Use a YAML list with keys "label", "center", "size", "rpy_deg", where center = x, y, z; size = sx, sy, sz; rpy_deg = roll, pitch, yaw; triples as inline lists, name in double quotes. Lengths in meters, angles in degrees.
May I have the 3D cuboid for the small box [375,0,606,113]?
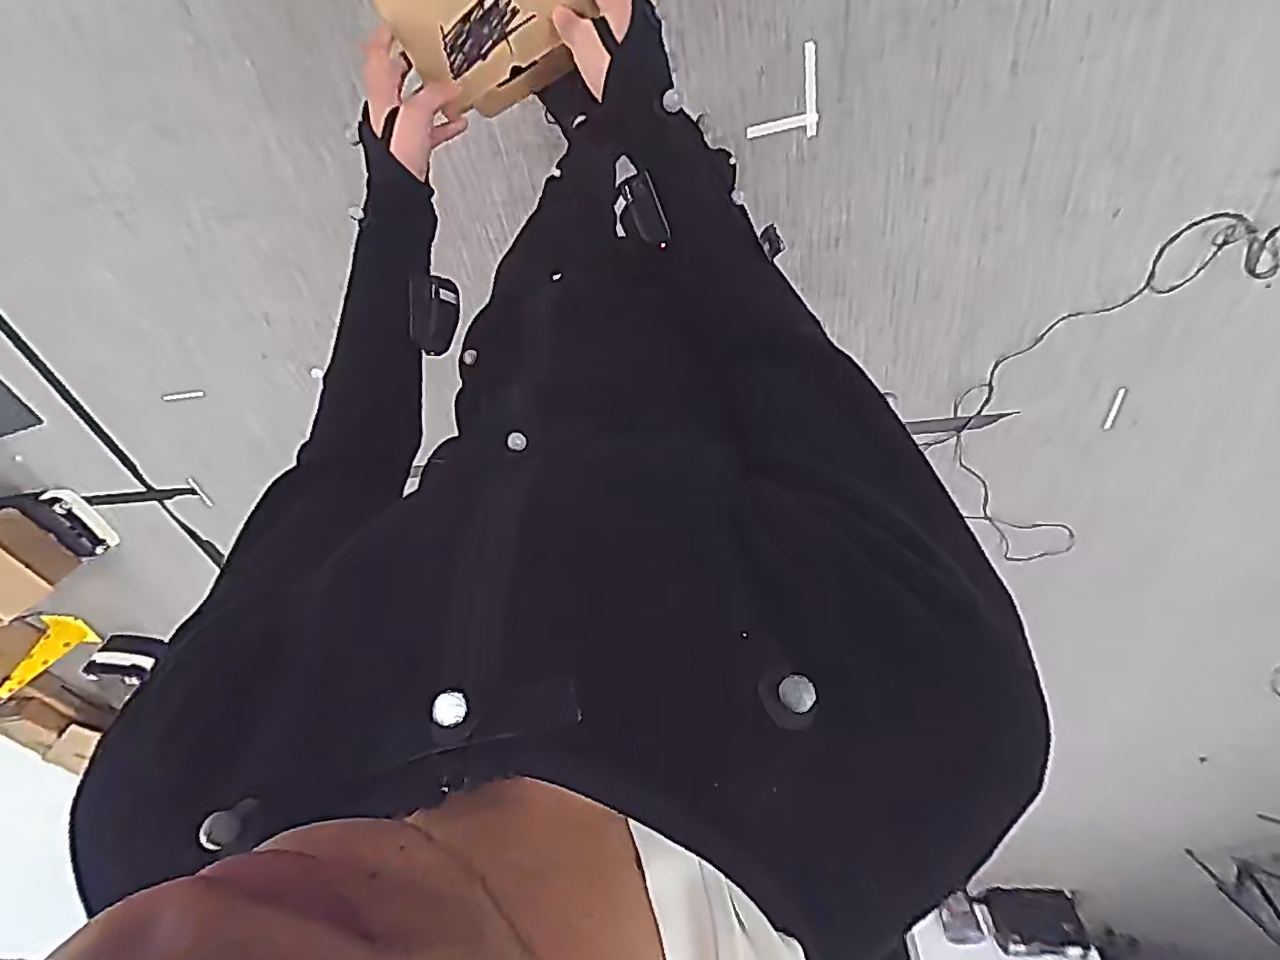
- label: "small box"
  center: [-0.144, -0.480, 0.493]
  size: [0.168, 0.176, 0.179]
  rpy_deg: [-18, 128, 19]
